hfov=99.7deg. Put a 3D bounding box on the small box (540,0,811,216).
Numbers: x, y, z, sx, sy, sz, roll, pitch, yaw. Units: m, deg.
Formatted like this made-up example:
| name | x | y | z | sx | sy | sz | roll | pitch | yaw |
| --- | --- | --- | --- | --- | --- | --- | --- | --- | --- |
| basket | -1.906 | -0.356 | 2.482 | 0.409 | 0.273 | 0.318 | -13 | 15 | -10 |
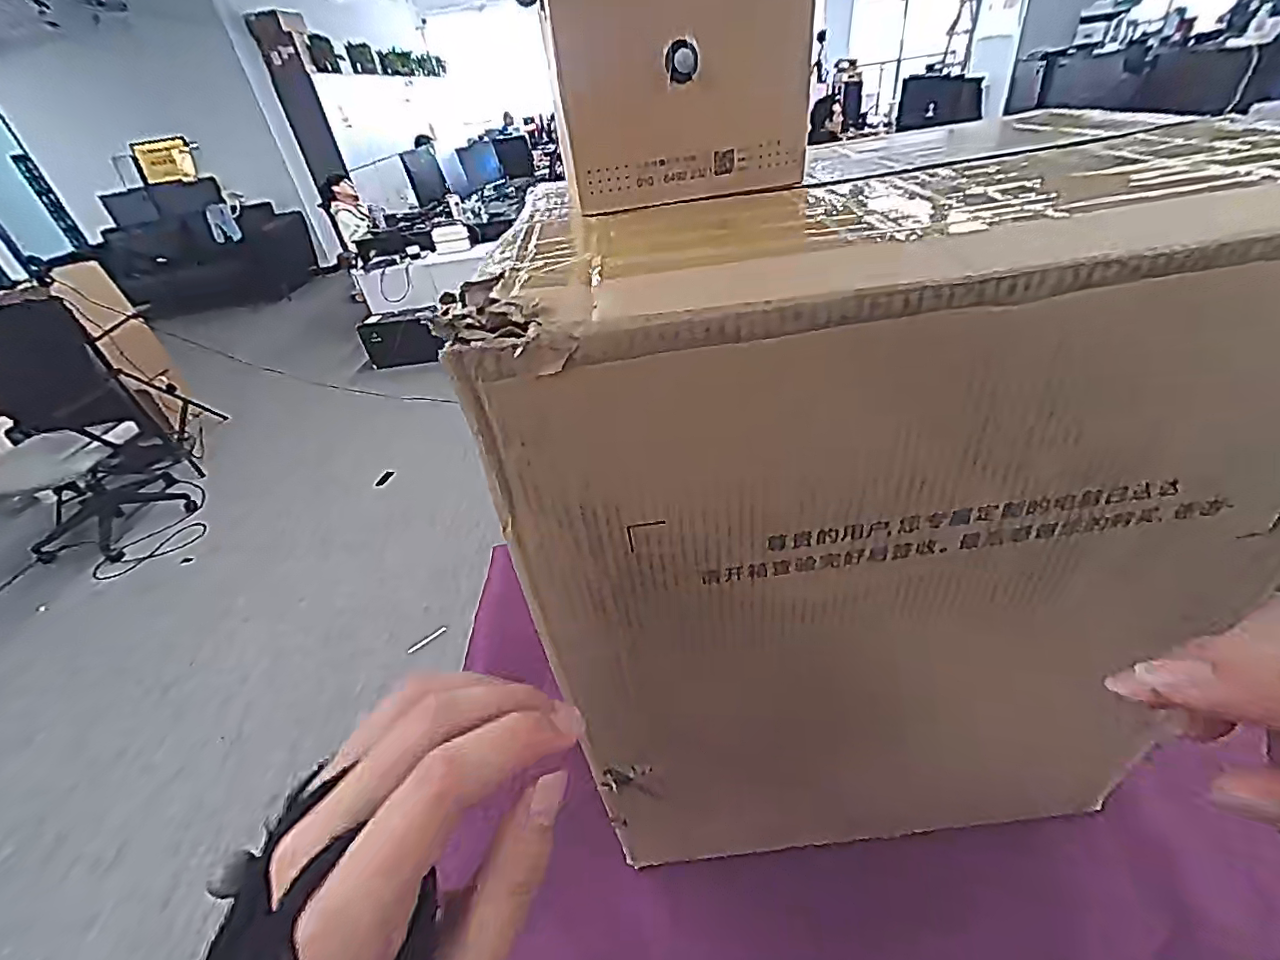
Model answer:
| name | x | y | z | sx | sy | sz | roll | pitch | yaw |
| --- | --- | --- | --- | --- | --- | --- | --- | --- | --- |
| small box | 0.020 | -0.307 | 0.405 | 0.168 | 0.176 | 0.179 | -10 | 37 | -4 |
